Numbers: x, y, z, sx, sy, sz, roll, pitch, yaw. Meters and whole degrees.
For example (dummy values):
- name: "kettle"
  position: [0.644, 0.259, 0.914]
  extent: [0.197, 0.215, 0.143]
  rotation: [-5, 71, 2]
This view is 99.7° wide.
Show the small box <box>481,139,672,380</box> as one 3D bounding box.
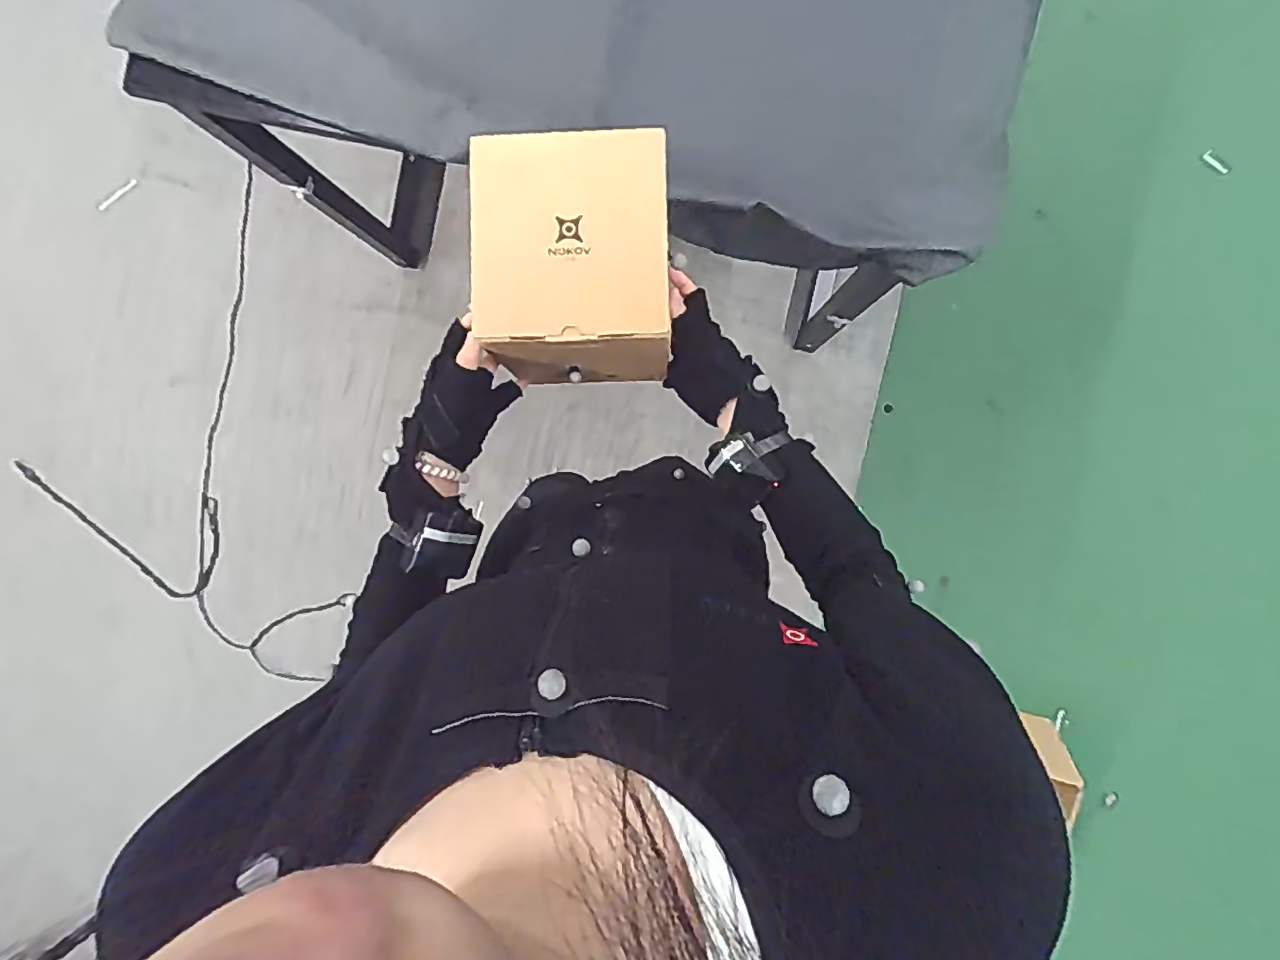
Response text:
- name: "small box"
  position: [-0.054, -0.205, 0.544]
  extent: [0.168, 0.176, 0.179]
  rotation: [-1, 90, 1]
